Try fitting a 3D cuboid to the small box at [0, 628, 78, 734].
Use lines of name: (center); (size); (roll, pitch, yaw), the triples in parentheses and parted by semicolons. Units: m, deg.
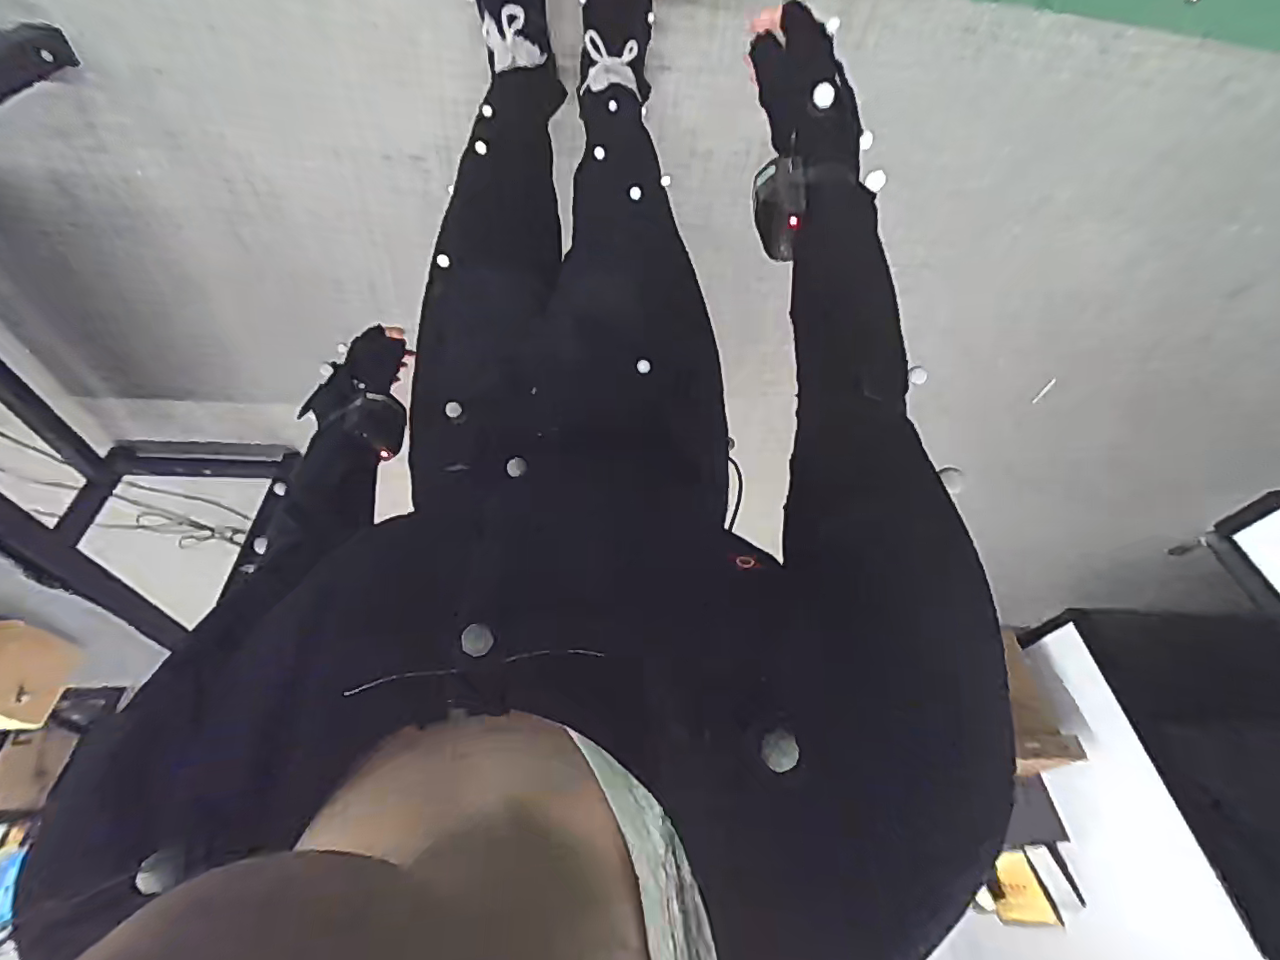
small box: (-1.308, 0.398, 1.075); (0.168, 0.176, 0.179); (-2, 143, -3)
